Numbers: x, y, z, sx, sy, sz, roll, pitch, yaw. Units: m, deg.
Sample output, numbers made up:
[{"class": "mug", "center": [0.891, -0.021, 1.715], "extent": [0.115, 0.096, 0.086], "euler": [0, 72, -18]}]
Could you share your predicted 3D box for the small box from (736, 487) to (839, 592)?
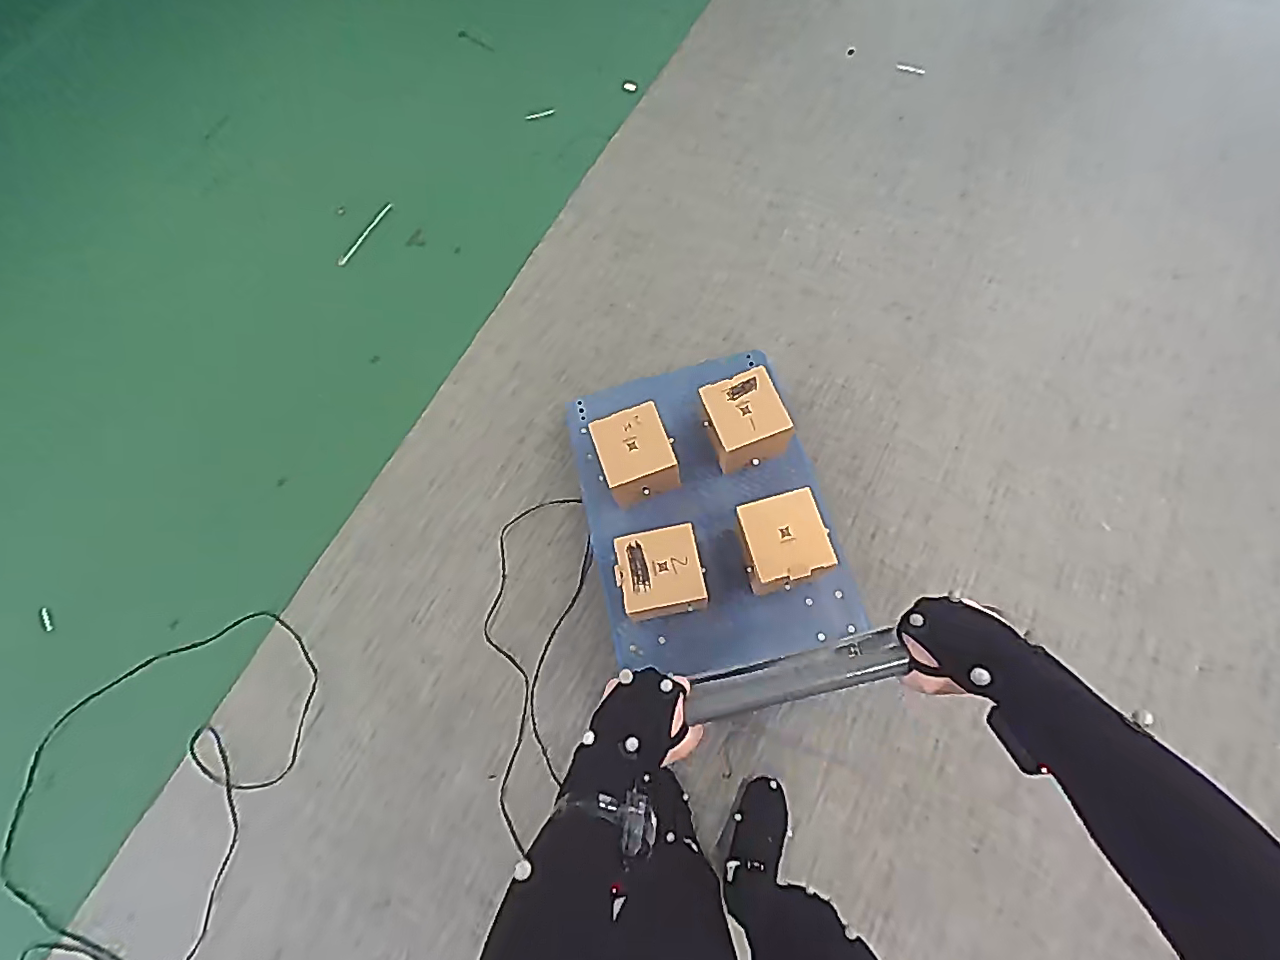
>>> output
[{"class": "small box", "center": [0.319, 0.139, 1.213], "extent": [0.168, 0.176, 0.179], "euler": [-15, 70, 1]}]

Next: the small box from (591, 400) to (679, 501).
[{"class": "small box", "center": [-0.006, -0.061, 1.319], "extent": [0.168, 0.176, 0.179], "euler": [-19, 70, -1]}]

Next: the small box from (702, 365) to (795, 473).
[{"class": "small box", "center": [0.255, -0.143, 1.317], "extent": [0.168, 0.176, 0.179], "euler": [-21, 70, 0]}]
